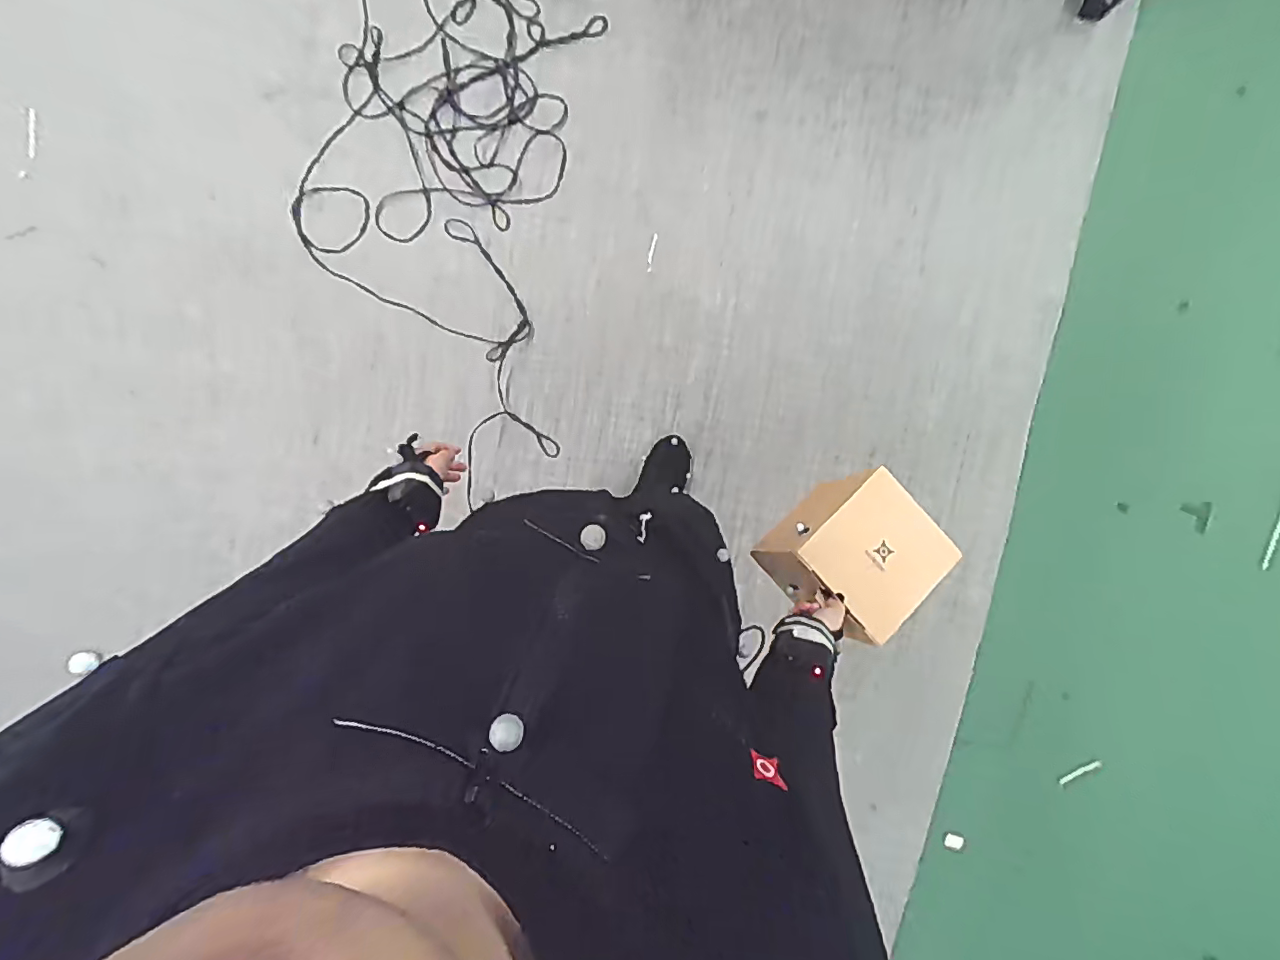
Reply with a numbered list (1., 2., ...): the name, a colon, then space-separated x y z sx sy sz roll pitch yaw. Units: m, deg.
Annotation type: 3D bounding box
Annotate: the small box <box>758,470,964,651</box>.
1. small box: 0.301 0.111 0.773 0.179 0.176 0.168 -42 90 -12
